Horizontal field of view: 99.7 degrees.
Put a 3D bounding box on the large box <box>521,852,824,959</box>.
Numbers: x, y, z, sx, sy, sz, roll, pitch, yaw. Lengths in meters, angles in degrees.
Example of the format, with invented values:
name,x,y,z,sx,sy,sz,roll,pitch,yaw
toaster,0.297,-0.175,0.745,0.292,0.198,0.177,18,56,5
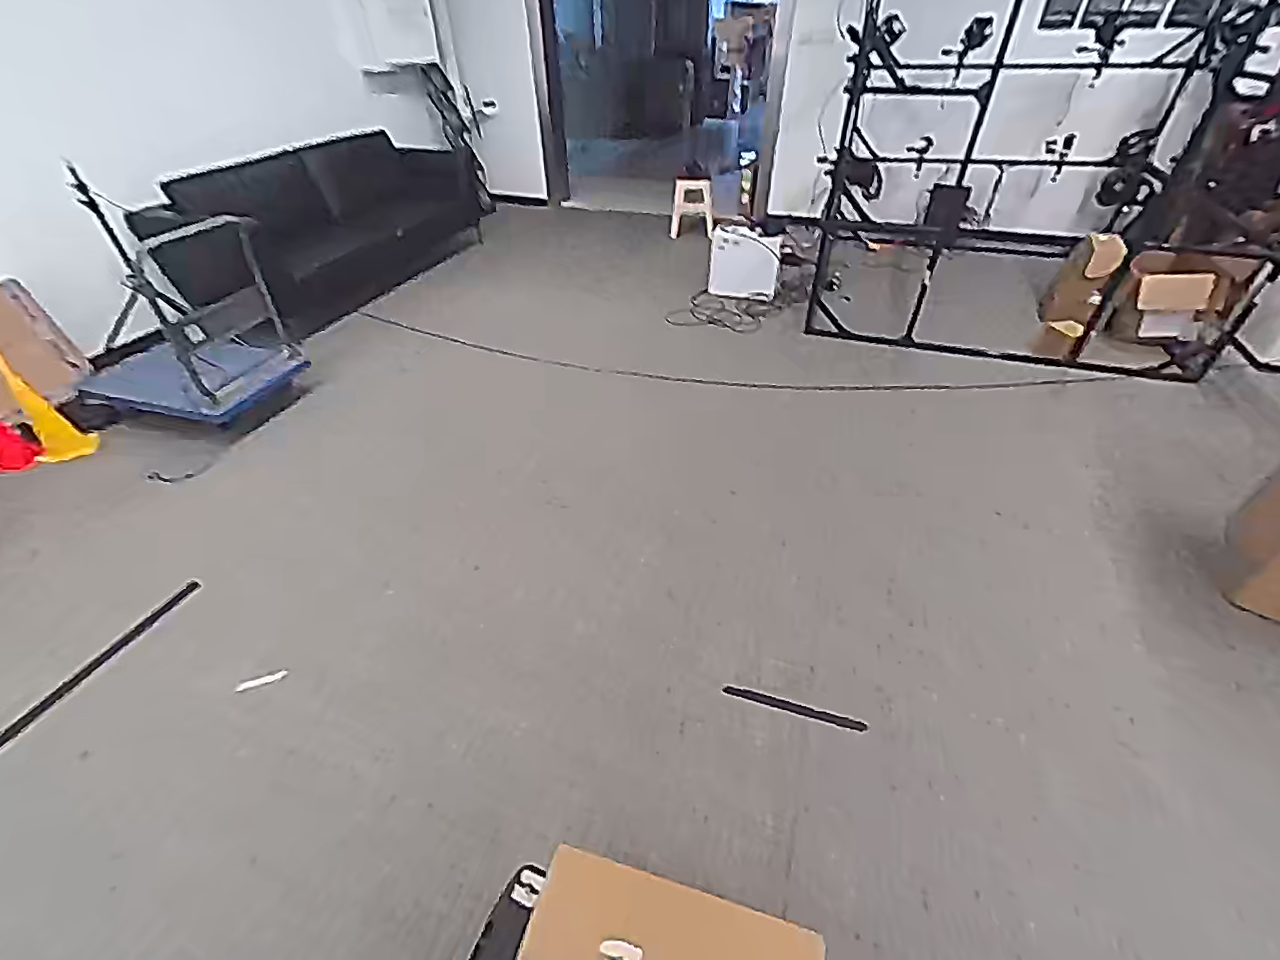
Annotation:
name,x,y,z,sx,sy,sz,roll,pitch,yaw
large box,0.029,0.809,0.770,0.408,0.320,0.320,10,40,14
